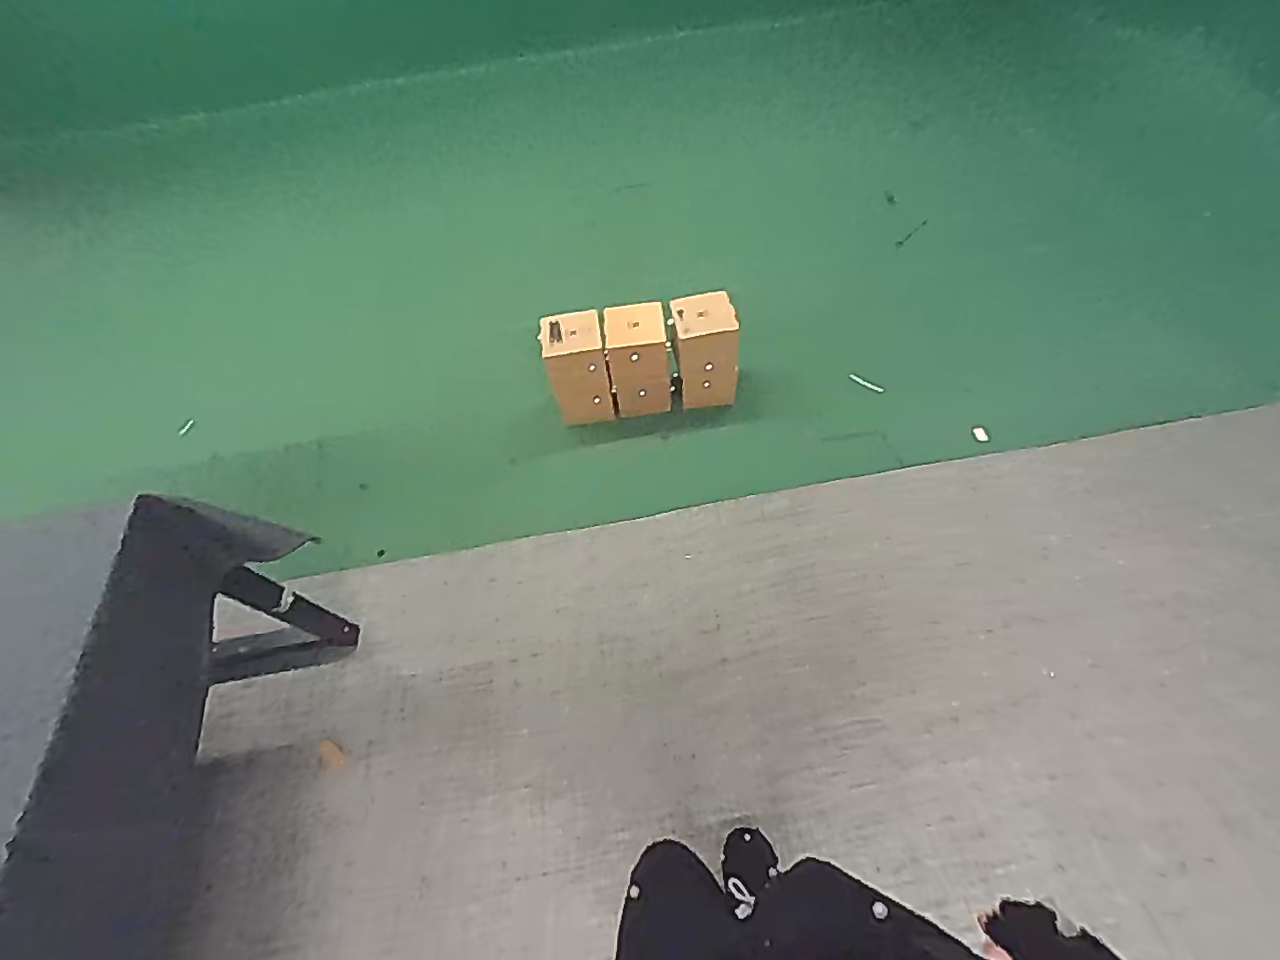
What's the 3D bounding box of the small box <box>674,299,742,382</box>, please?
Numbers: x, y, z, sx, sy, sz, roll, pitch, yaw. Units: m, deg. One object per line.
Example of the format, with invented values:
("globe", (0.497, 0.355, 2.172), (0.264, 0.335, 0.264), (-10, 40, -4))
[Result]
("small box", (0.200, -0.421, 1.649), (0.179, 0.176, 0.168), (-9, 58, -1))
